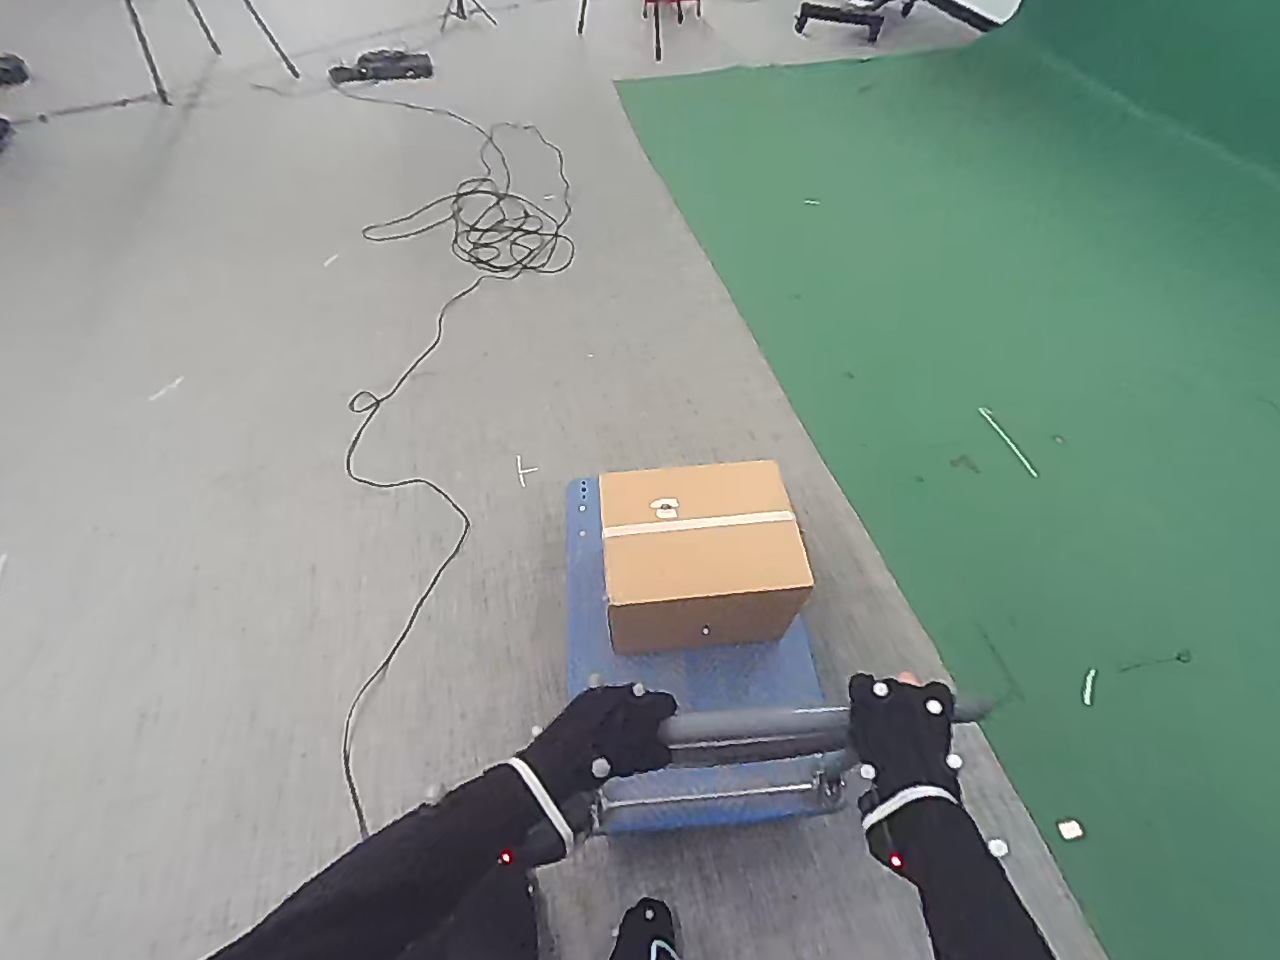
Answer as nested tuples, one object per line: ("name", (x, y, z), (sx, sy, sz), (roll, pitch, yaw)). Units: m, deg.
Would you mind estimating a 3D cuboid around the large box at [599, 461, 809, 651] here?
("large box", (0.124, 0.184, 1.258), (0.408, 0.320, 0.320), (-5, 55, -3))
